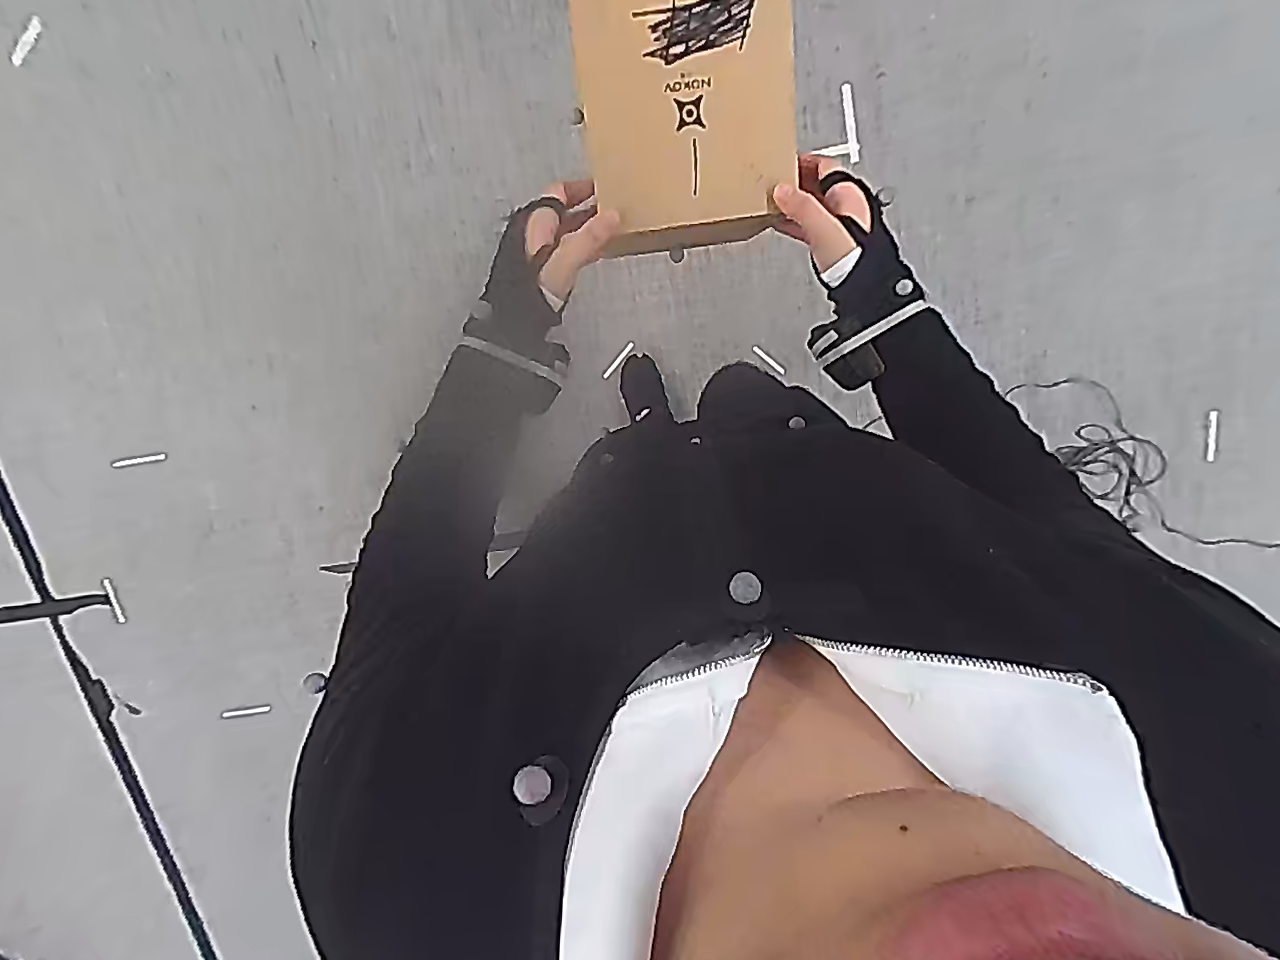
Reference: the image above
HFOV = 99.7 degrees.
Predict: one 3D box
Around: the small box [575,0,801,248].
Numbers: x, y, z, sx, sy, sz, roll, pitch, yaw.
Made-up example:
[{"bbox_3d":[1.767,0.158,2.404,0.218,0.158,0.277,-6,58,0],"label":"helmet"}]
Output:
[{"bbox_3d":[0.033,-0.320,0.485,0.168,0.176,0.179,-8,107,-2],"label":"small box"}]
